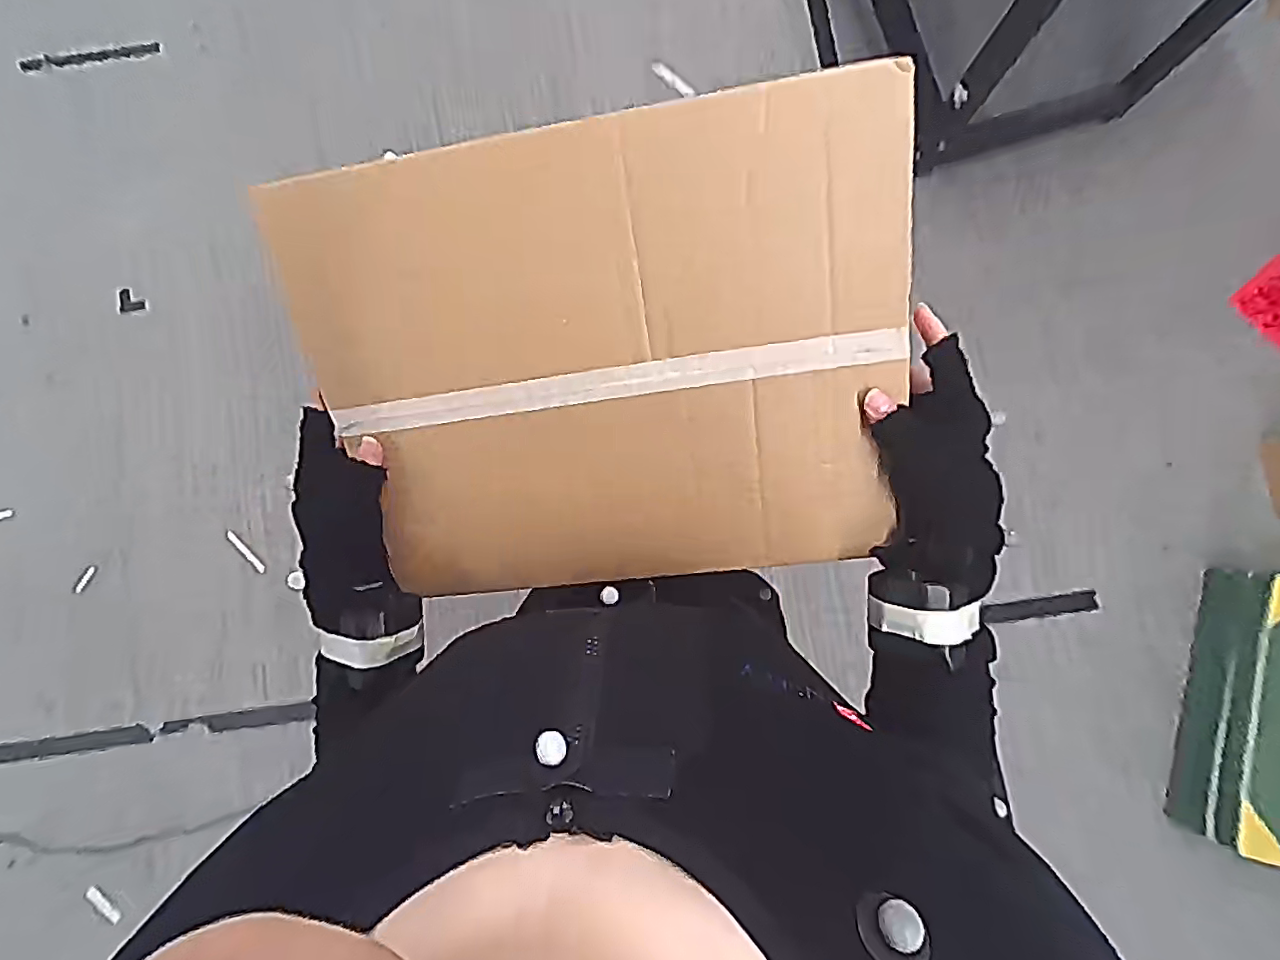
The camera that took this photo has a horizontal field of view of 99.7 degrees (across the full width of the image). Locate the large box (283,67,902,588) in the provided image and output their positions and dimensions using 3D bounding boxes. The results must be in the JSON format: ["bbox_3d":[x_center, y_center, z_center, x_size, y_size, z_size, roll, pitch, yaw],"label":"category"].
[{"bbox_3d":[-0.012,-0.124,0.523,0.408,0.320,0.320,-6,112,7],"label":"large box"}]
